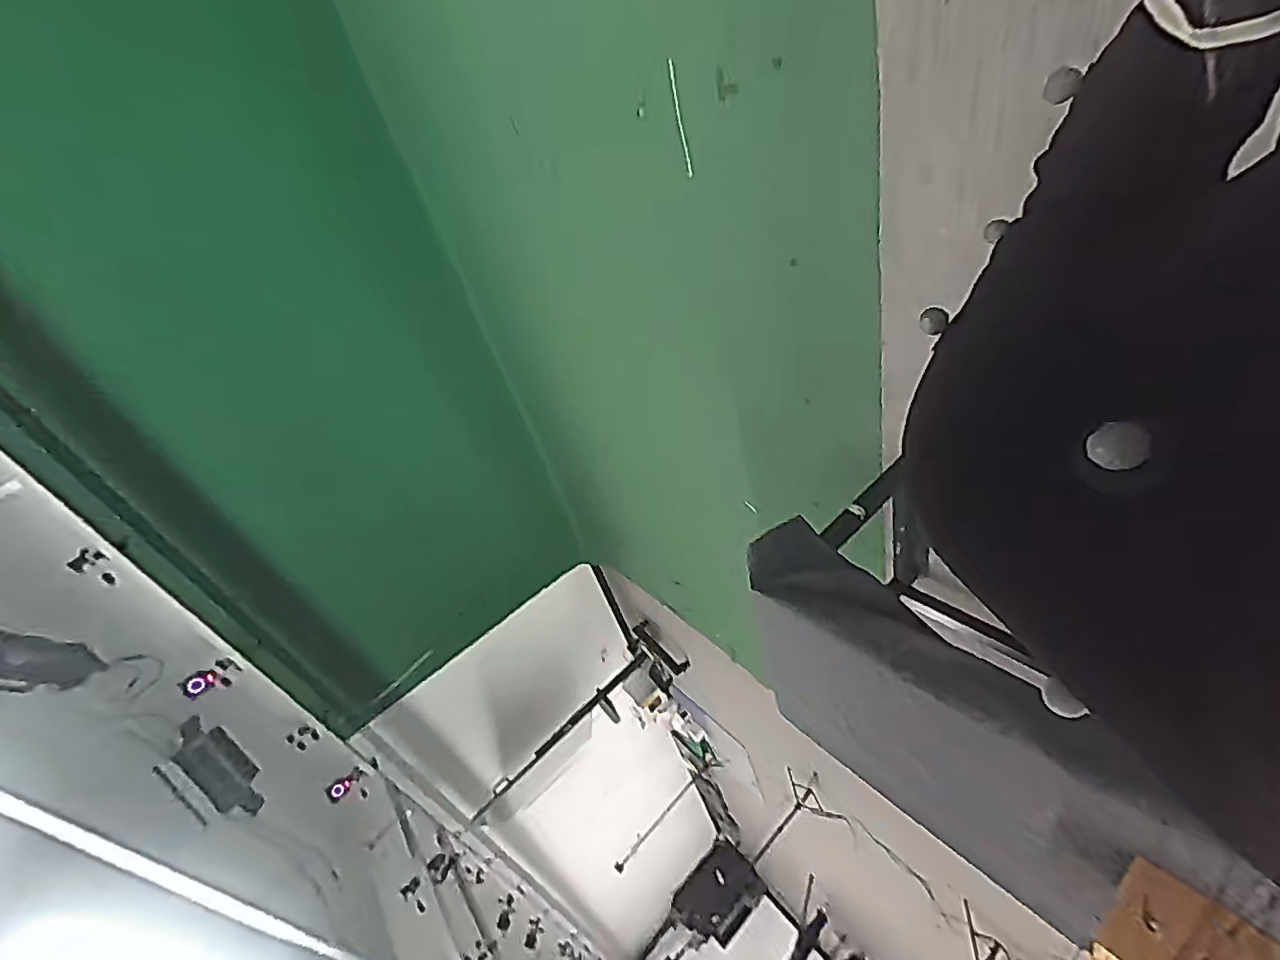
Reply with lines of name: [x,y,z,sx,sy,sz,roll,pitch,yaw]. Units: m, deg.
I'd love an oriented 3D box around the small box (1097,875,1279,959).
small box: [0.842,0.754,0.828,0.179,0.176,0.168,25,145,47]
